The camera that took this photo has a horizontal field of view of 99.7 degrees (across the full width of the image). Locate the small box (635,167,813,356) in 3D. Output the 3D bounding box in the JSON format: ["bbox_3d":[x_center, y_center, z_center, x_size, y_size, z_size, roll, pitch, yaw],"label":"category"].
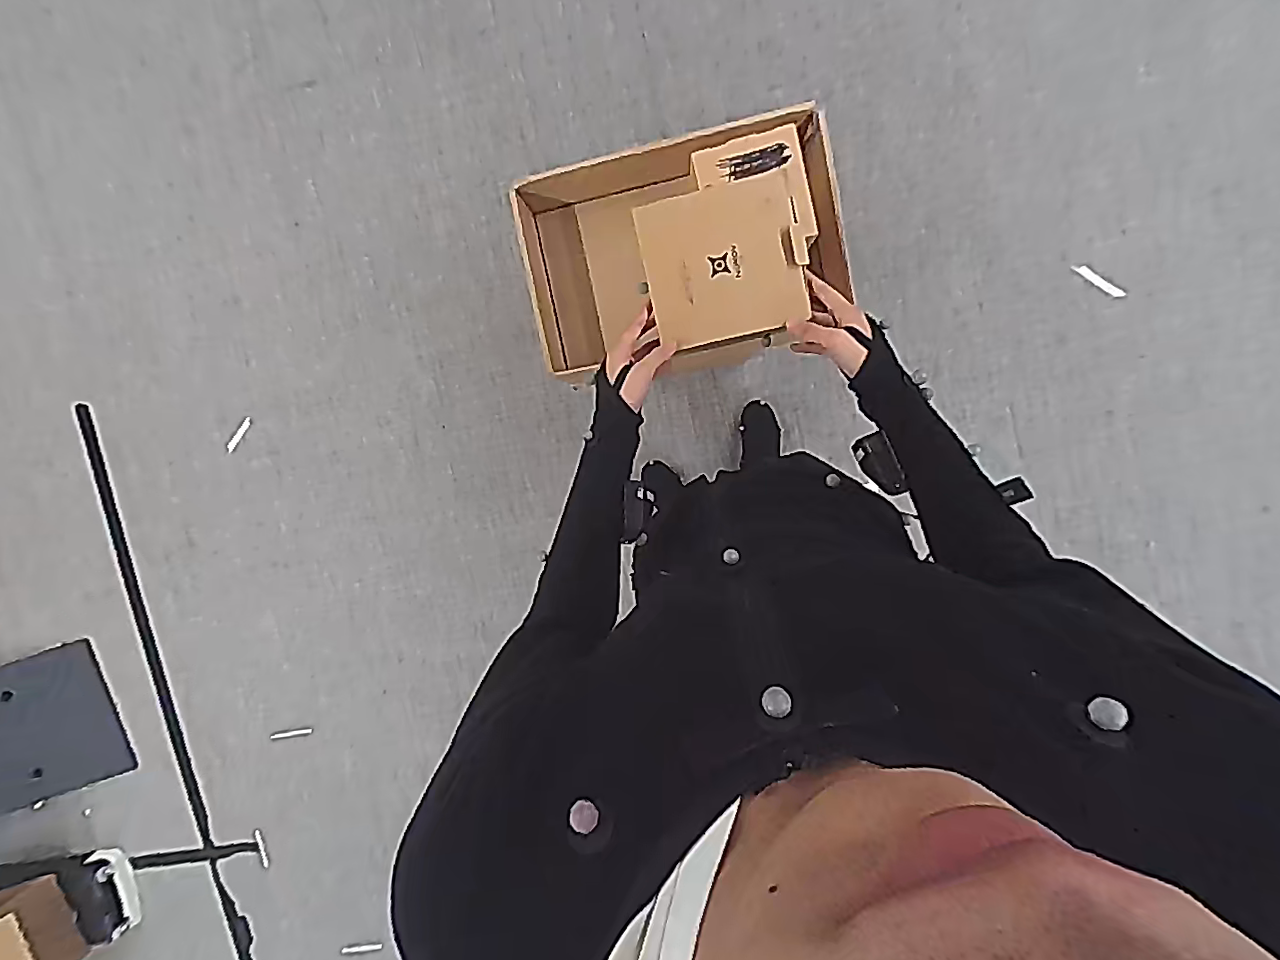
[{"bbox_3d":[0.098,-0.256,0.676,0.179,0.176,0.168,-12,99,6],"label":"small box"}]
